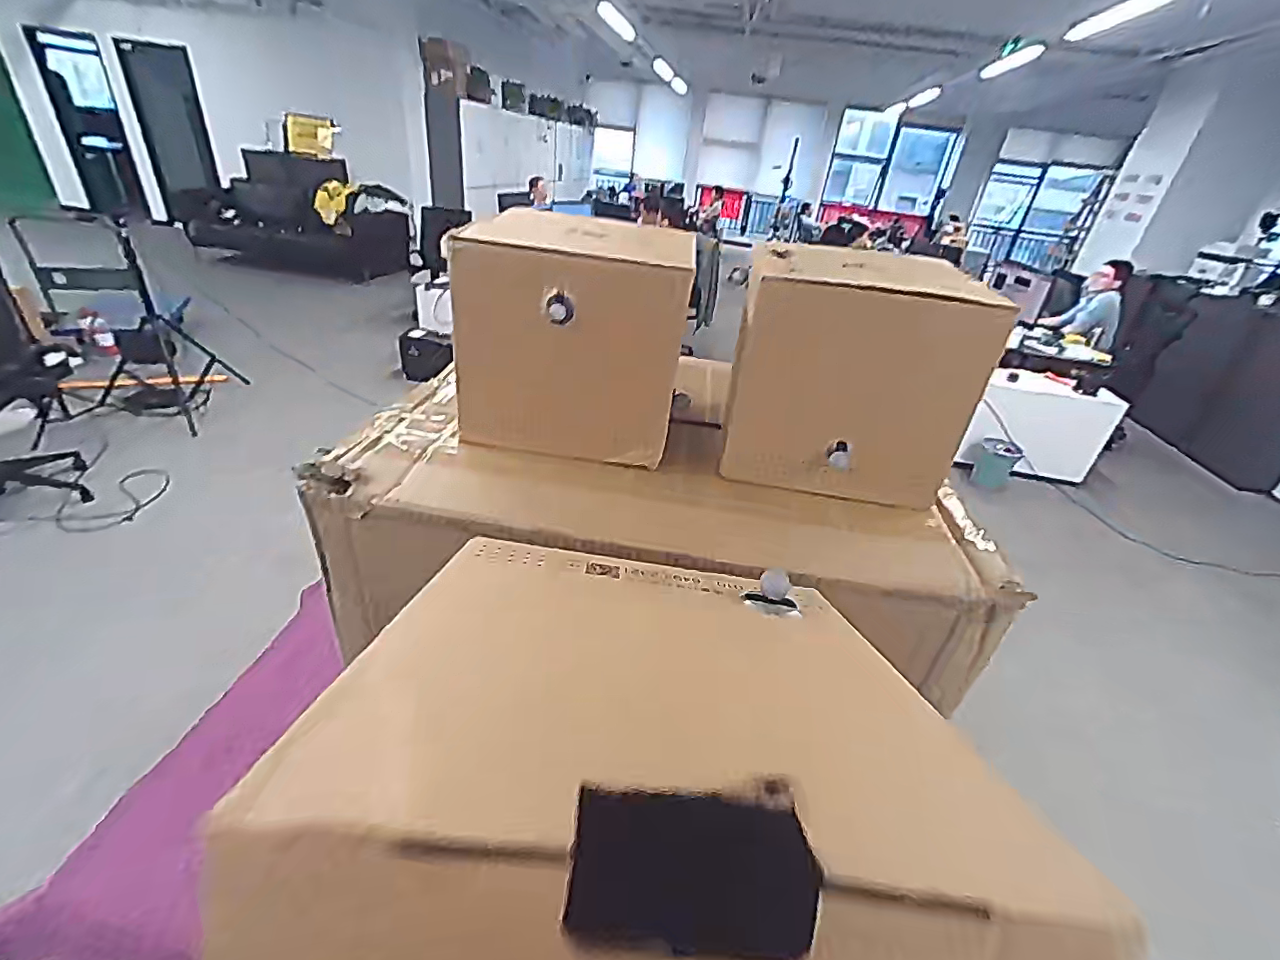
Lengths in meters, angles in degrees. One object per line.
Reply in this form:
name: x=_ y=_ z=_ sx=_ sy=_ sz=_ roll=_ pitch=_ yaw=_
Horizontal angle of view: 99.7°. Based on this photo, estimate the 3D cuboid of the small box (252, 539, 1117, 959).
small box: x=-0.003 y=0.130 z=0.191 sx=0.168 sy=0.179 sz=0.176 roll=9 pitch=8 yaw=-4

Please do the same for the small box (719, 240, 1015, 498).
small box: x=0.174 y=-0.101 z=0.479 sx=0.179 sy=0.176 sz=0.168 roll=9 pitch=31 yaw=5
